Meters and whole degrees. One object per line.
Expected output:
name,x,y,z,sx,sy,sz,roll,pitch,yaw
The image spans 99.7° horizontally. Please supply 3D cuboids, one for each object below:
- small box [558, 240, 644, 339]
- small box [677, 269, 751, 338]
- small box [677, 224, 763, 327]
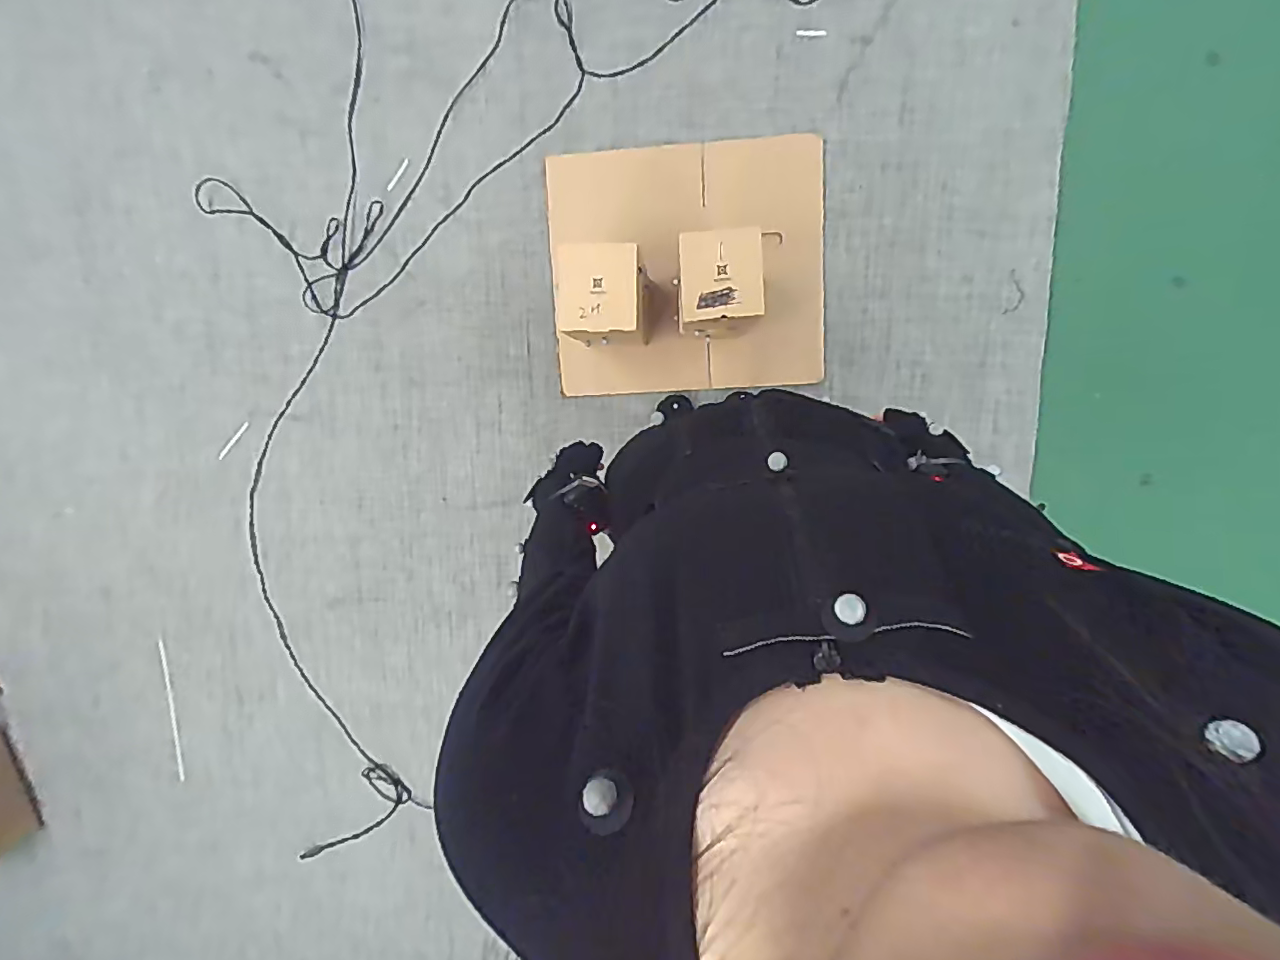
small box,-0.080,-0.406,1.175,0.168,0.176,0.179,1,99,5
small box,0.176,-0.449,1.320,0.168,0.176,0.179,-3,99,4
small box,0.167,-0.426,1.157,0.168,0.176,0.179,-4,98,4
